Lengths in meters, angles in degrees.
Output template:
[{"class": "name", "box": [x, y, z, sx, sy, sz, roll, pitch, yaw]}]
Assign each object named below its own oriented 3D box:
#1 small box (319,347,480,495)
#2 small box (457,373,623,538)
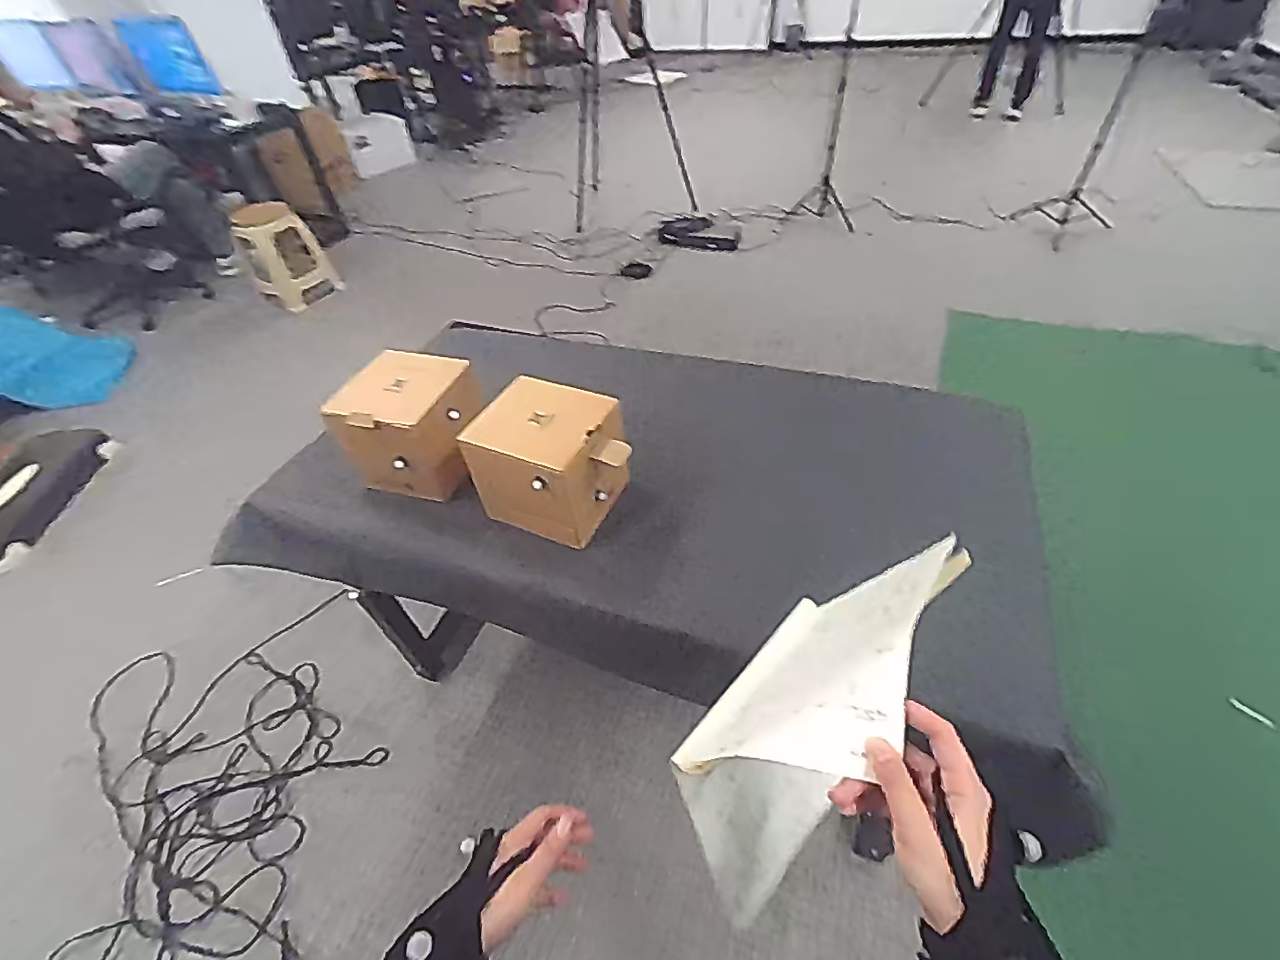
[{"class": "small box", "box": [-0.378, -0.097, 0.904, 0.168, 0.176, 0.179, 10, 46, 13]}, {"class": "small box", "box": [-0.139, -0.036, 0.824, 0.179, 0.176, 0.168, 16, 49, 19]}]
